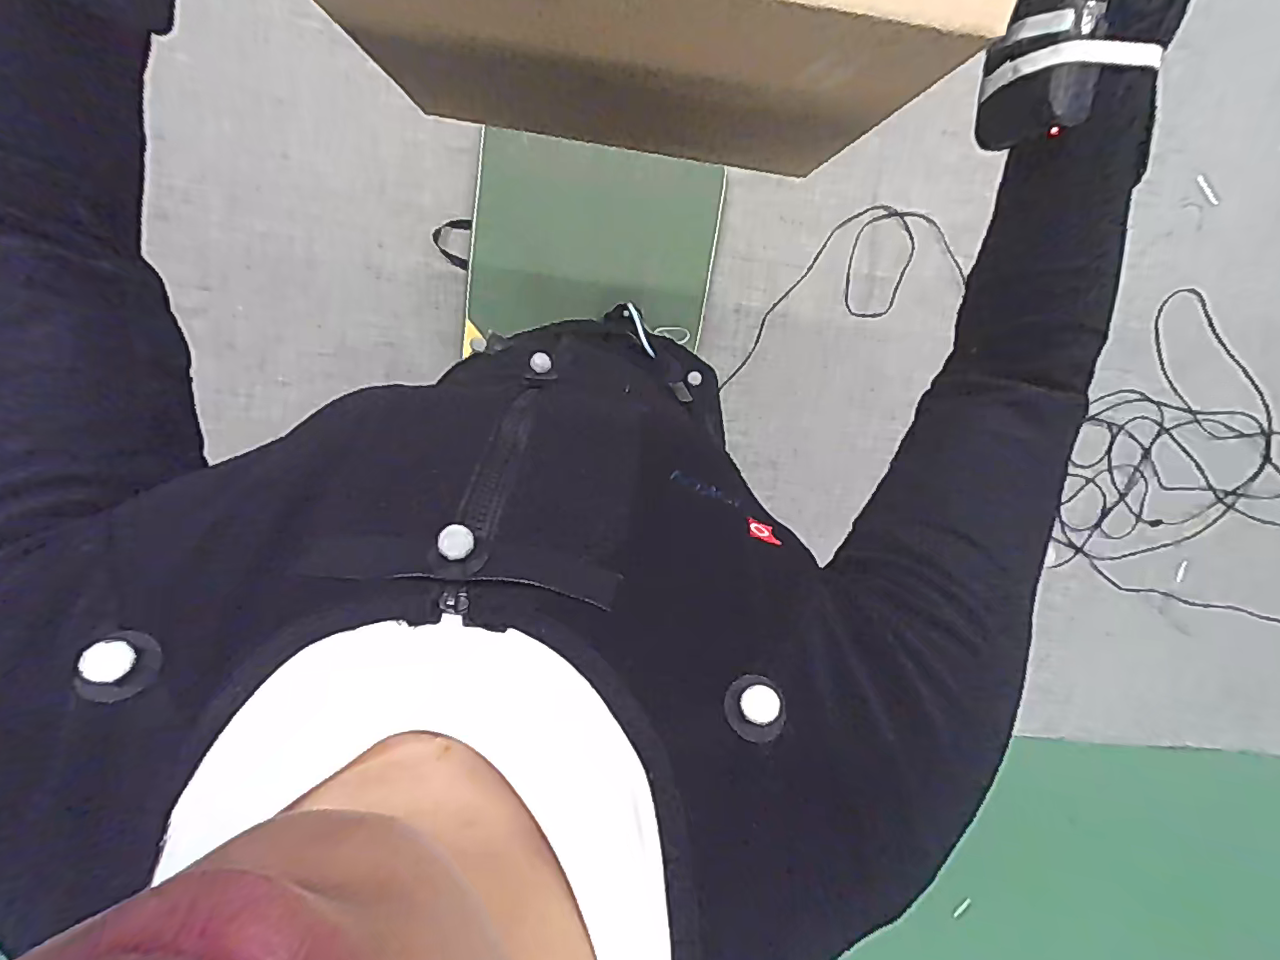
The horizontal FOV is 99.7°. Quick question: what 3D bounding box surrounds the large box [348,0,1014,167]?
[{"bbox_3d":[0.013,-0.454,0.380,0.408,0.320,0.320,6,107,-5],"label":"large box"}]
